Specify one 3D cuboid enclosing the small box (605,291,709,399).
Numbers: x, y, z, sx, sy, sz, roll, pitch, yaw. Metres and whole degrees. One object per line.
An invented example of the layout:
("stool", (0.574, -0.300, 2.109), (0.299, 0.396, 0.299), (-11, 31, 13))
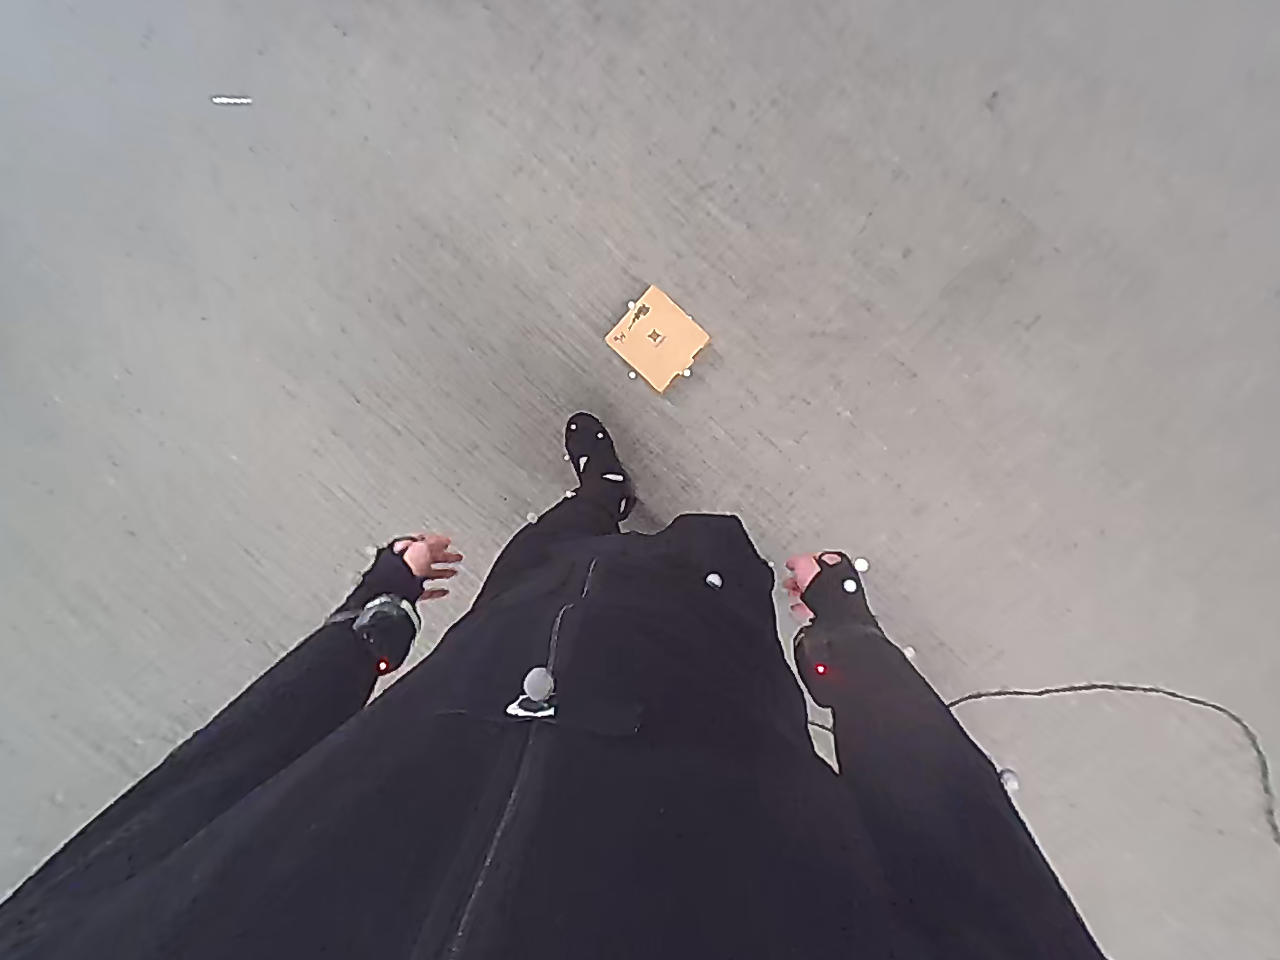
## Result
("small box", (0.041, -0.309, 1.273), (0.179, 0.176, 0.168), (43, 95, -3))
